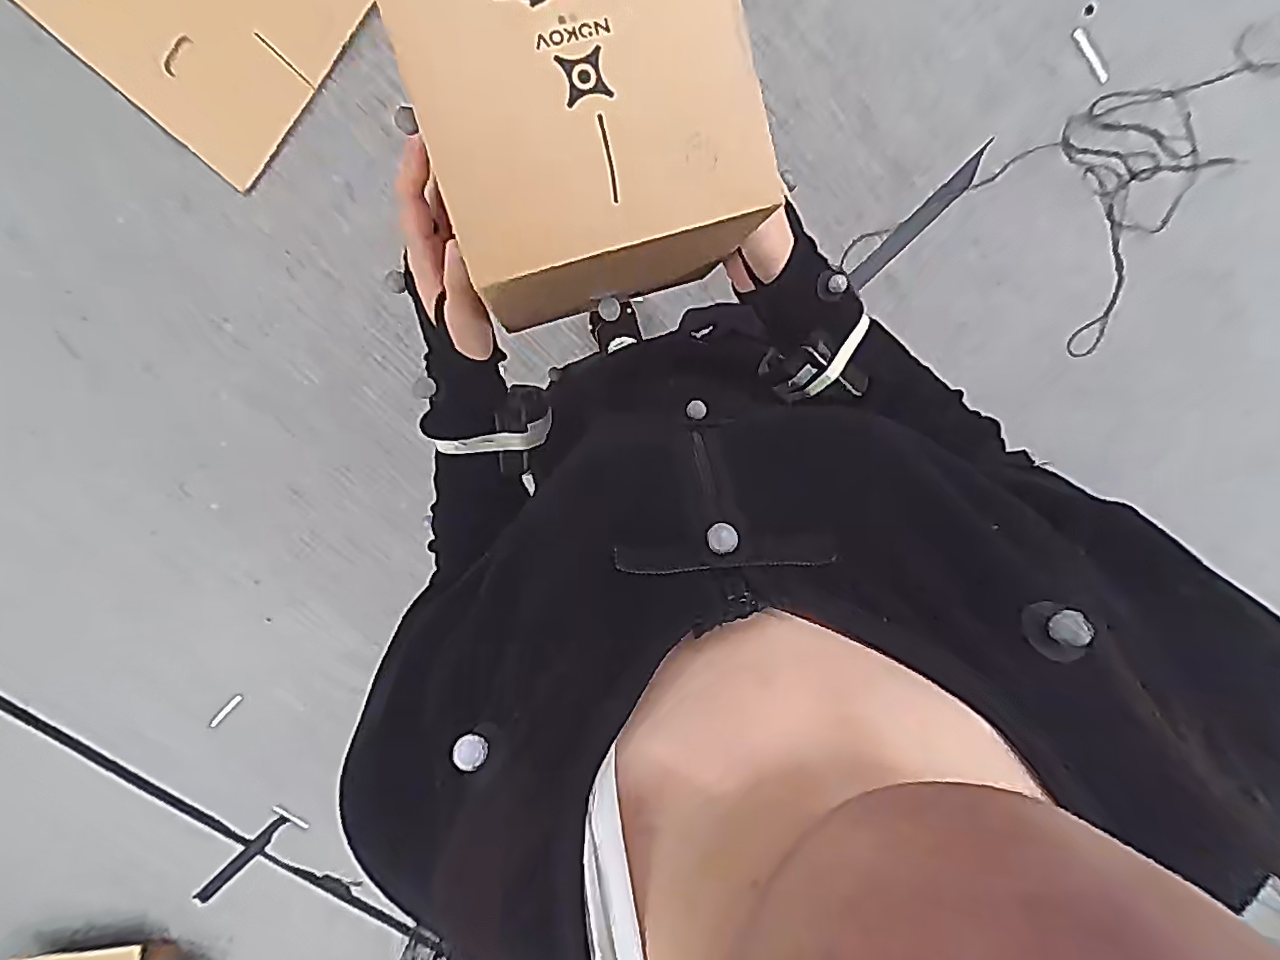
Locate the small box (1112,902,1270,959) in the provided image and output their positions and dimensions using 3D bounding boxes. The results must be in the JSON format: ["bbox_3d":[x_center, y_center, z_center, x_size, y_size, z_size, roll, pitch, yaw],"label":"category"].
[{"bbox_3d":[0.835,0.745,0.754,0.179,0.176,0.168,40,101,-14],"label":"small box"}]

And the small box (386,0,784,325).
[{"bbox_3d":[-0.038,-0.211,0.331,0.168,0.176,0.179,-17,100,-5],"label":"small box"}]
